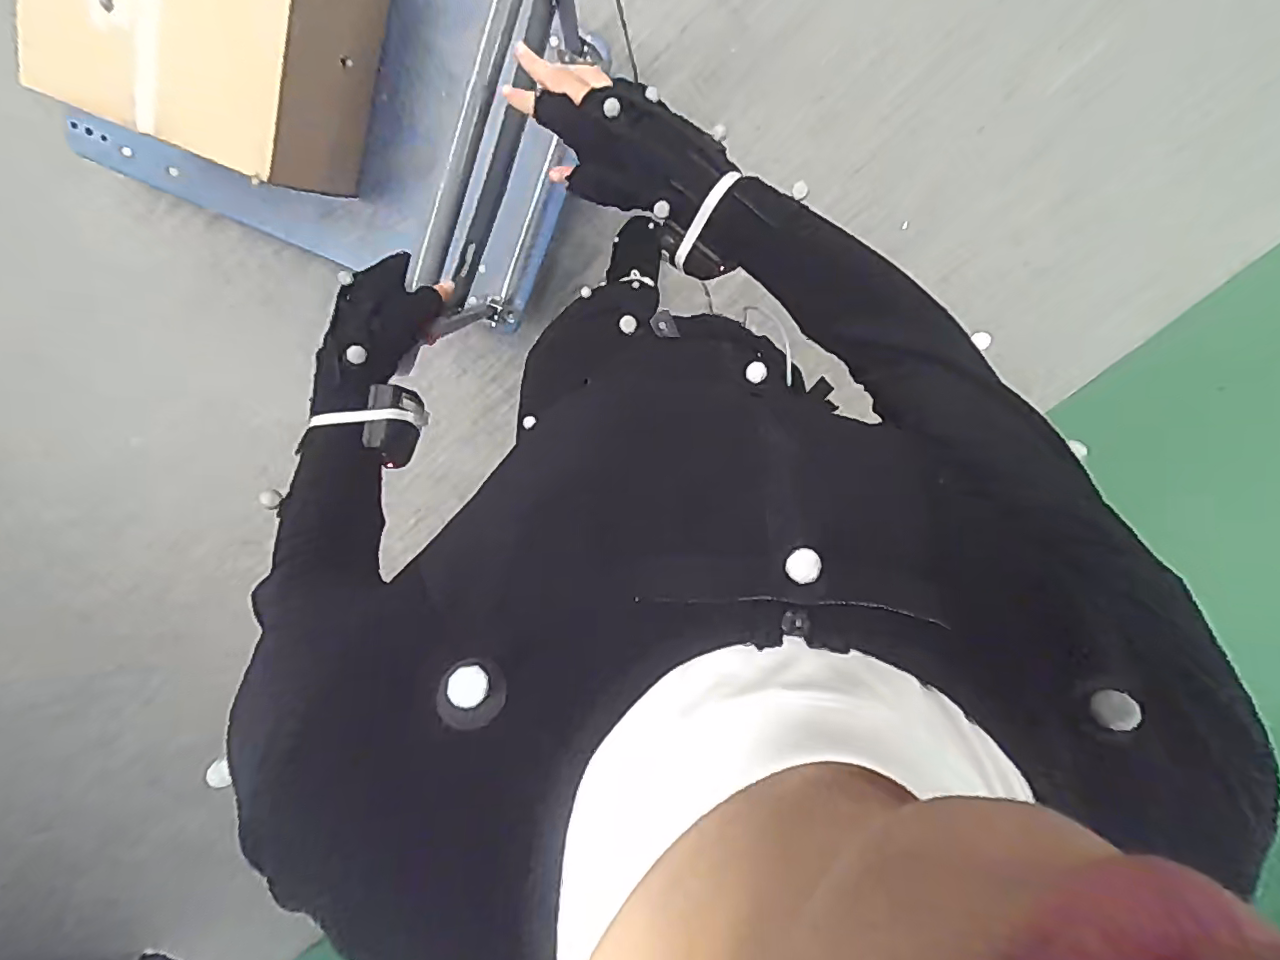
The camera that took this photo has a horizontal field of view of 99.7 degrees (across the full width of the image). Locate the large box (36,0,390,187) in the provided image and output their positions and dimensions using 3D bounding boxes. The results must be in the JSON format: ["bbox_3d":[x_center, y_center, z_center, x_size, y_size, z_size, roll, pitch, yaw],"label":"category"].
[{"bbox_3d":[-0.608,-0.726,0.823,0.320,0.320,0.408,19,112,-11],"label":"large box"}]
